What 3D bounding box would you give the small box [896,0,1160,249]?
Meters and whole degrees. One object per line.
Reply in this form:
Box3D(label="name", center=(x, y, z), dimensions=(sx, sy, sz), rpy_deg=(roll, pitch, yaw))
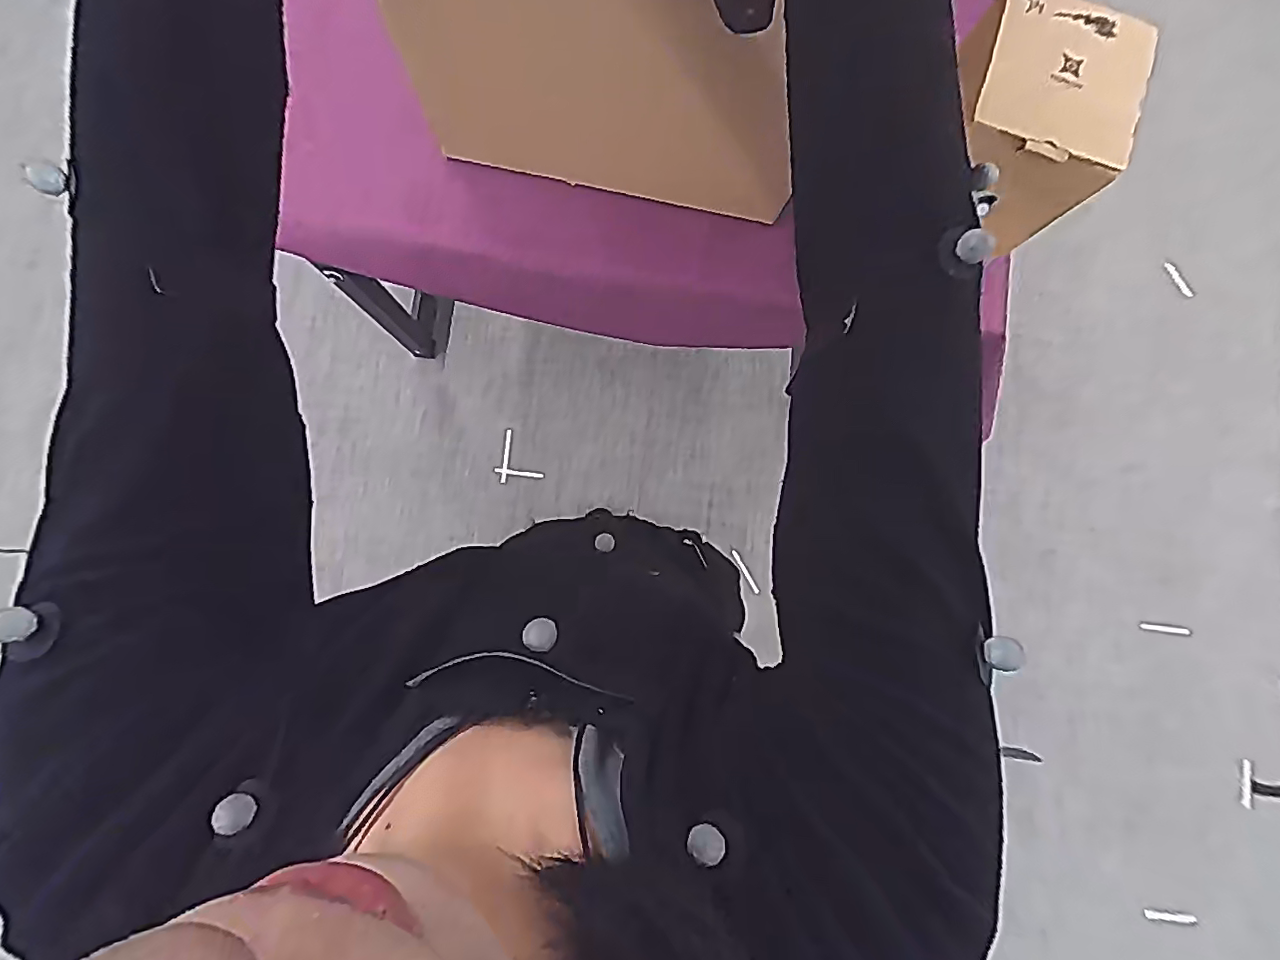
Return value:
Box3D(label="small box", center=(0.429, -0.404, 0.629), dimensions=(0.168, 0.176, 0.179), rpy_deg=(19, 84, -2))
